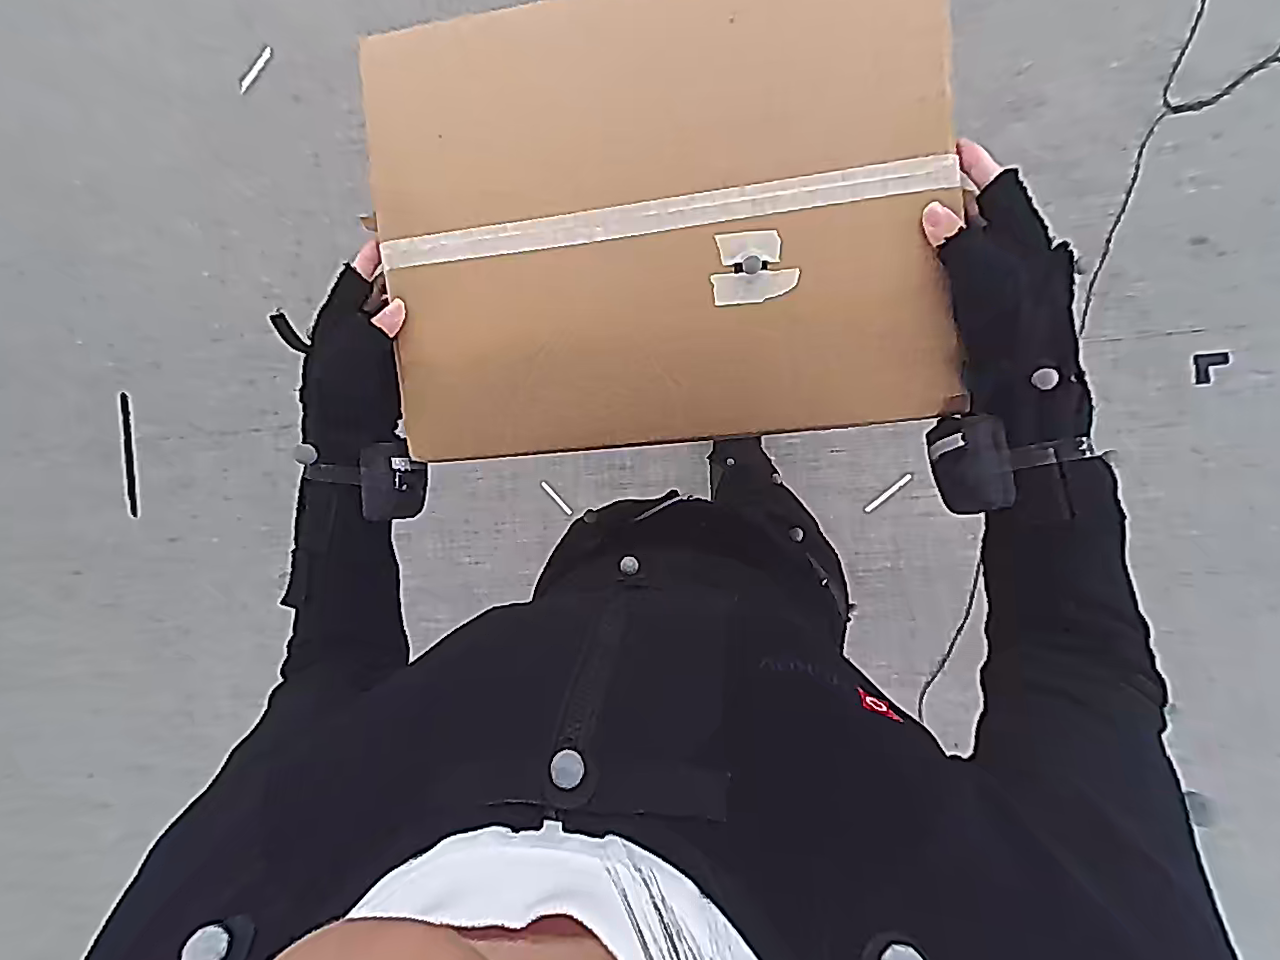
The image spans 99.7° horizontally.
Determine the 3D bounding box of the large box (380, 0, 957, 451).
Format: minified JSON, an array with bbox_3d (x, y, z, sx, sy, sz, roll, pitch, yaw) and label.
[{"bbox_3d":[0.028,-0.206,0.541,0.408,0.320,0.320,-5,95,7],"label":"large box"}]
